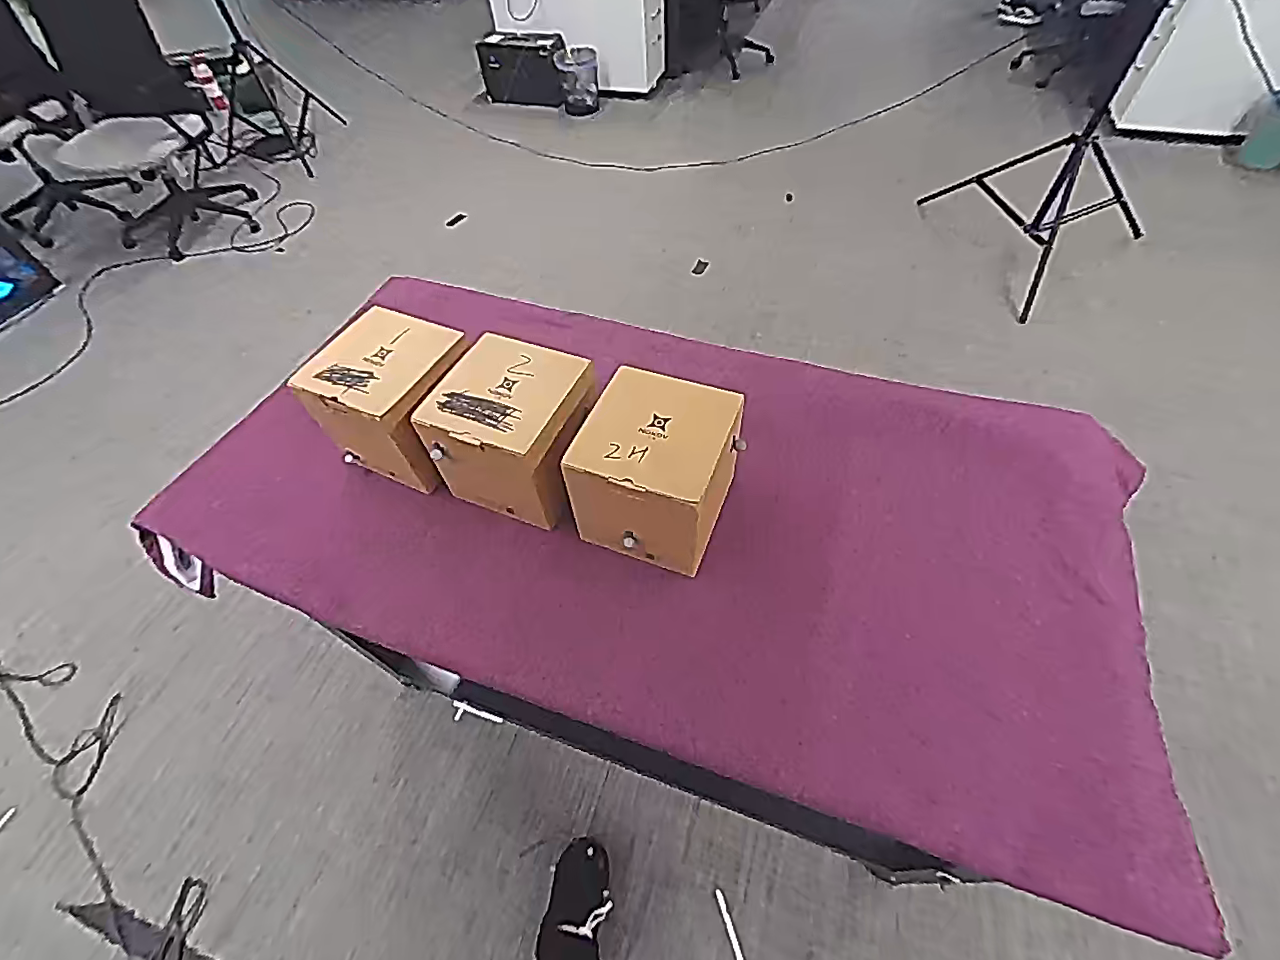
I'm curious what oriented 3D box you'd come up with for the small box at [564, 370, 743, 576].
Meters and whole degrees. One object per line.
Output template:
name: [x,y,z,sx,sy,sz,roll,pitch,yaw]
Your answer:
small box: [0.023,-0.008,0.694,0.168,0.176,0.179,16,56,16]
